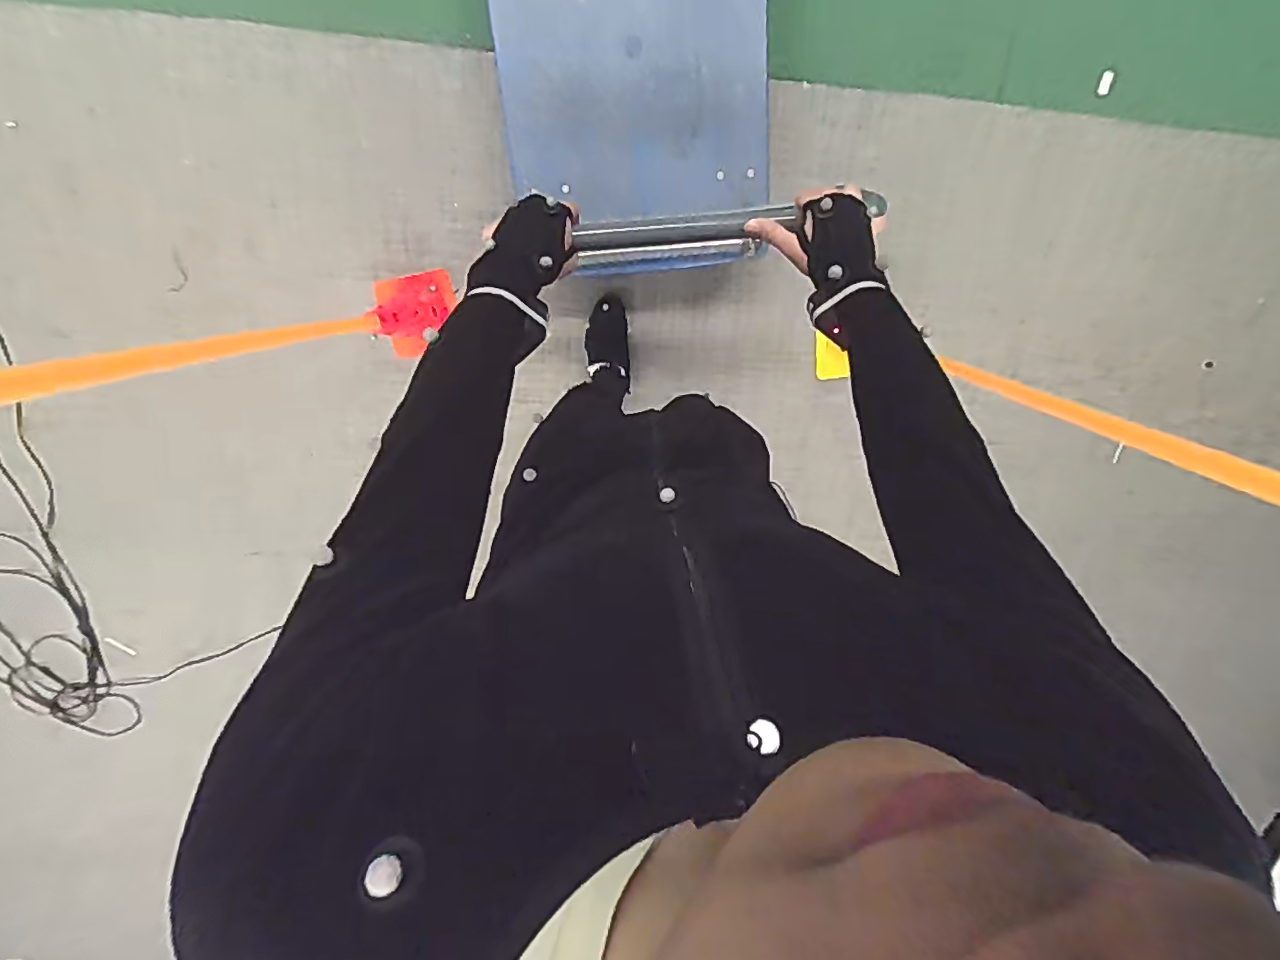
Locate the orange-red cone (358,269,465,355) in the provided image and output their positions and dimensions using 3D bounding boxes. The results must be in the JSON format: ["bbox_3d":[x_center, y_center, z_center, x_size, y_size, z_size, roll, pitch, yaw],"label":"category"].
[{"bbox_3d":[-0.566,-0.381,1.260,0.199,0.360,0.198,-11,110,1],"label":"orange-red cone"}]
